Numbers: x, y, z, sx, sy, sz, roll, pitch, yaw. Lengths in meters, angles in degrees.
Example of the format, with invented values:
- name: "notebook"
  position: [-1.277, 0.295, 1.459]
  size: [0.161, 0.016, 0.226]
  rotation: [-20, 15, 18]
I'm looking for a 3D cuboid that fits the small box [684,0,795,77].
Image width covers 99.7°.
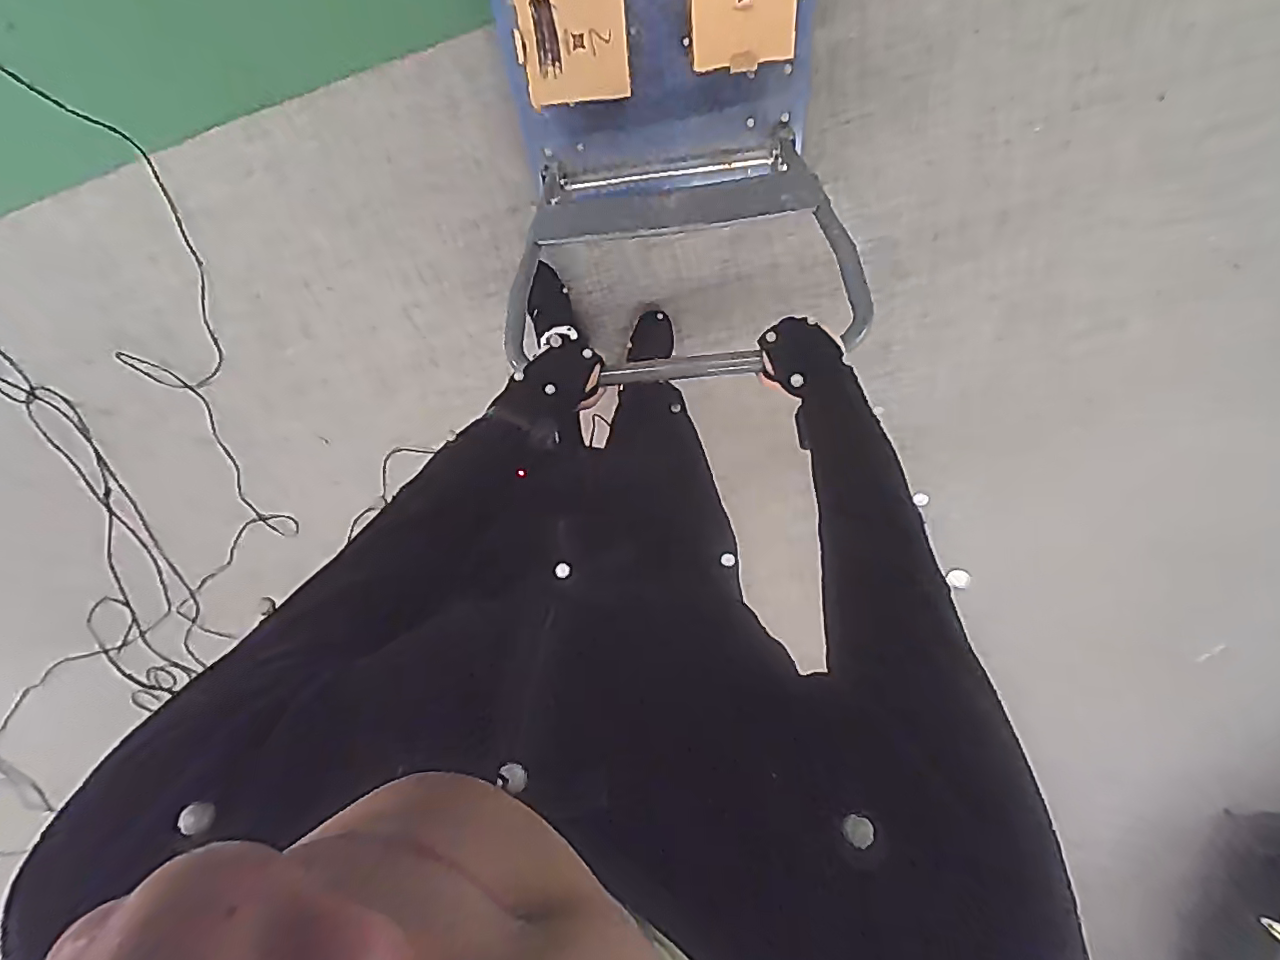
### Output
- name: "small box"
  position: [0.161, -0.803, 0.903]
  size: [0.168, 0.176, 0.179]
  rotation: [-5, 134, 5]
